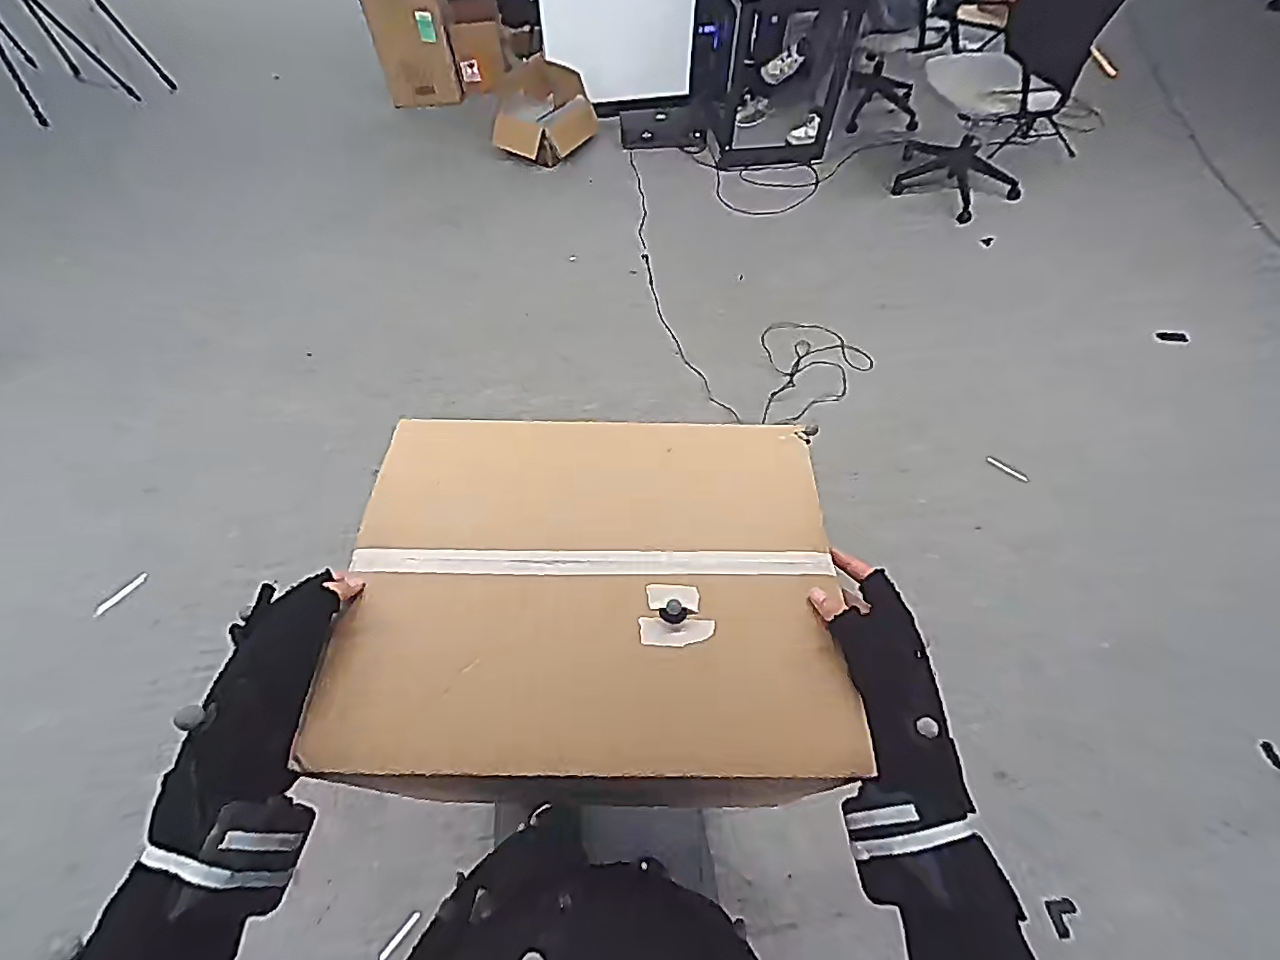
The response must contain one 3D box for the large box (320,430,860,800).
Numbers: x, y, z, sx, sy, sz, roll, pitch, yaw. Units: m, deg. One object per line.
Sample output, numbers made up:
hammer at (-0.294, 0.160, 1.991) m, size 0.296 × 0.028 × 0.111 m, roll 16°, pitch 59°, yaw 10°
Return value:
large box at (-0.040, 0.160, 0.598) m, size 0.408 × 0.320 × 0.320 m, roll 1°, pitch 56°, yaw -1°
